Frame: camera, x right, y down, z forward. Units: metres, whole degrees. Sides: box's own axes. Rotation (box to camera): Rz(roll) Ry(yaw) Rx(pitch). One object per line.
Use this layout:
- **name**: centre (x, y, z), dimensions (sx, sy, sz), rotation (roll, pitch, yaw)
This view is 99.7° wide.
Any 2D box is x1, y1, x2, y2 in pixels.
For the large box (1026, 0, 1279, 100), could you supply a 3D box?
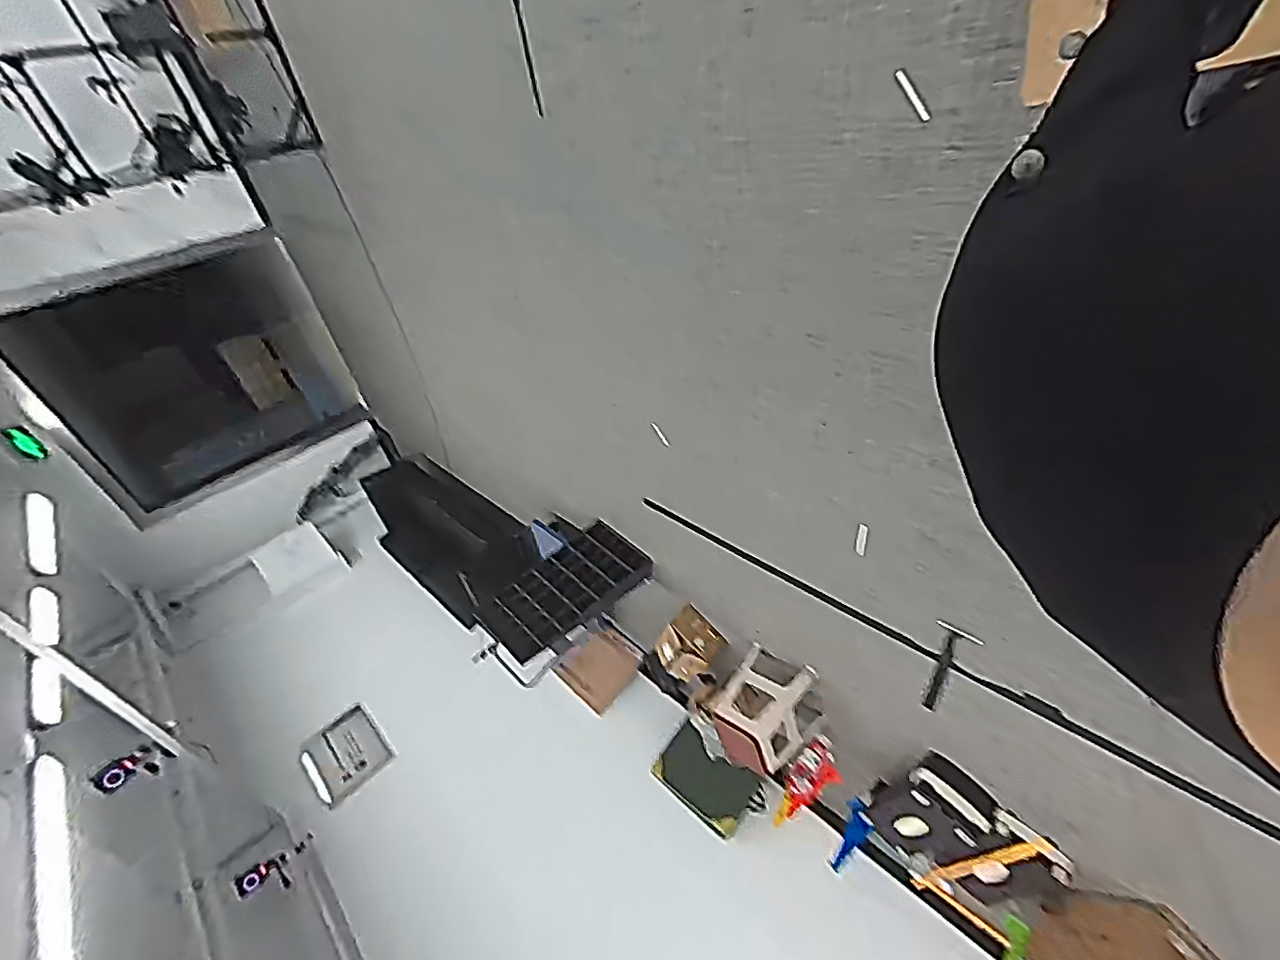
- **large box**: centre (0.812, -0.758, 0.722), dimensions (0.408, 0.320, 0.320), rotation (19, 135, 44)
